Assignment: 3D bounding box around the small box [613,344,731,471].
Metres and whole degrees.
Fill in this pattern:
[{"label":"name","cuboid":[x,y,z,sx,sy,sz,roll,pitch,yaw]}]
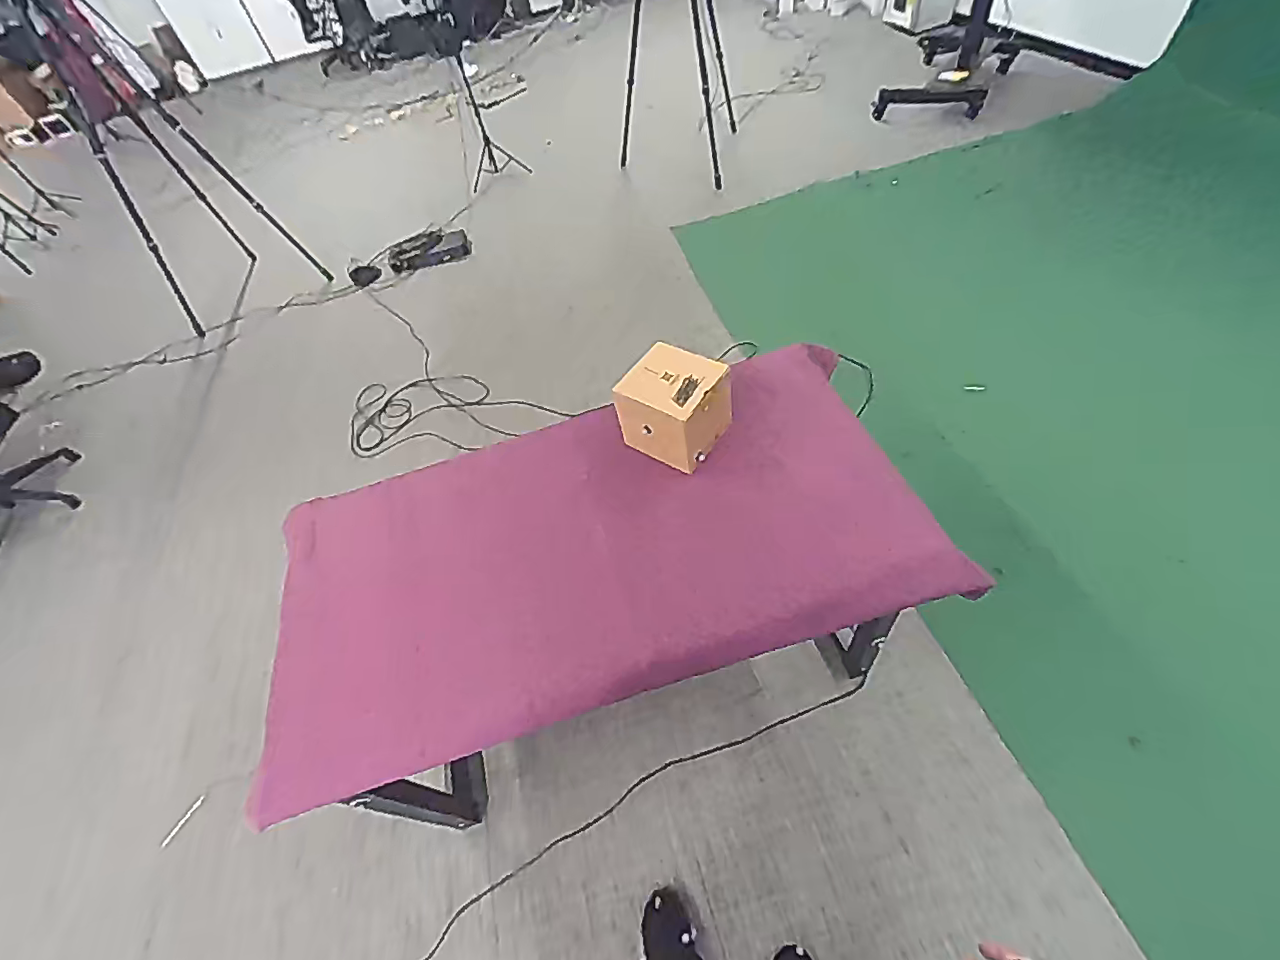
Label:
[{"label":"small box","cuboid":[0.074,-0.143,1.109,0.179,0.176,0.168,27,63,27]}]
